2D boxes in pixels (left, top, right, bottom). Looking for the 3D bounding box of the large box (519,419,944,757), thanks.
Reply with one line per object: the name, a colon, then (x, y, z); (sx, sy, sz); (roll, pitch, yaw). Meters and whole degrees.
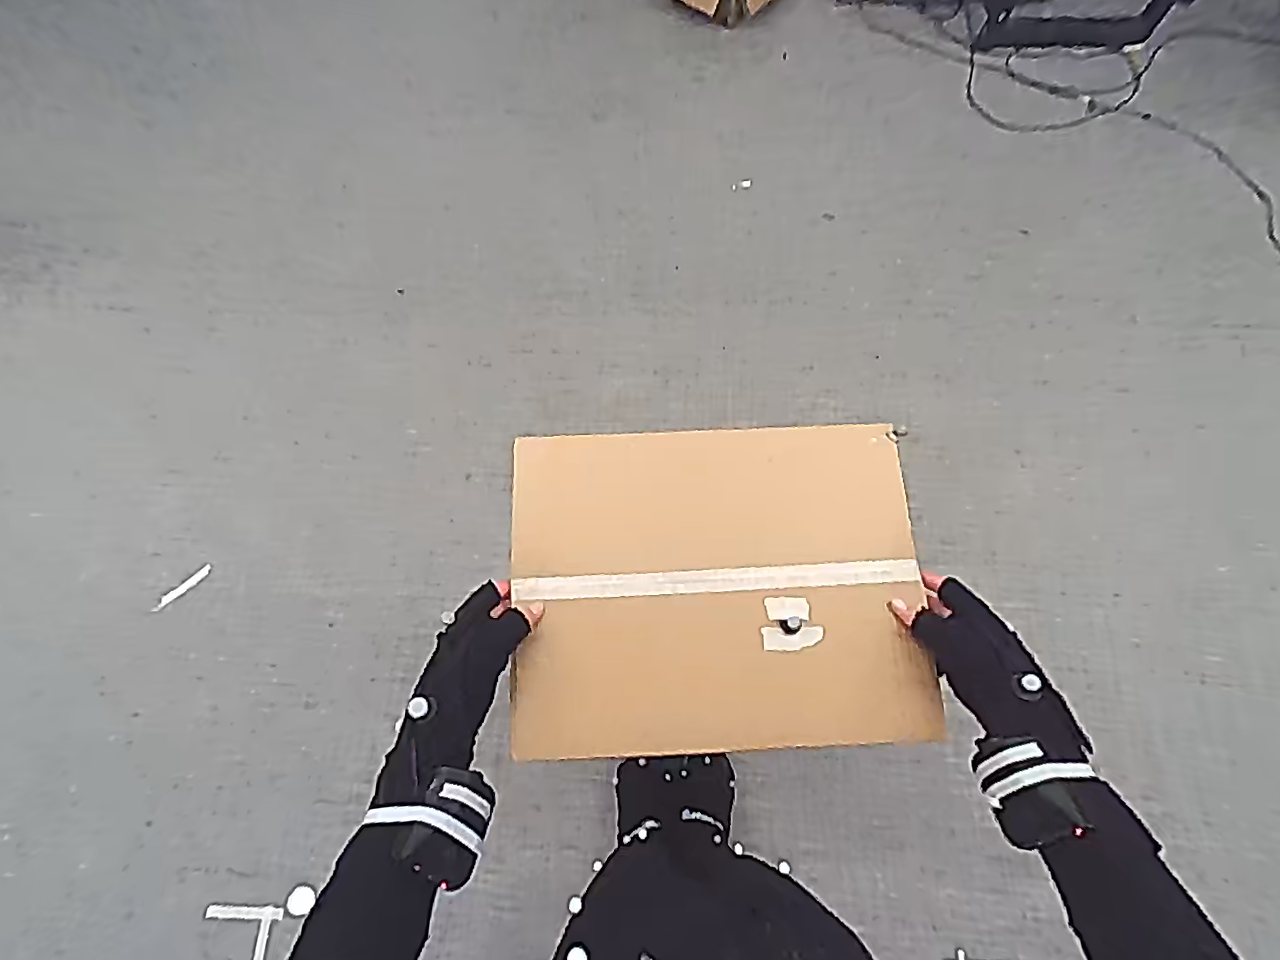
large box: (0.076, 0.132, 0.682); (0.408, 0.320, 0.320); (-3, 76, -2)
